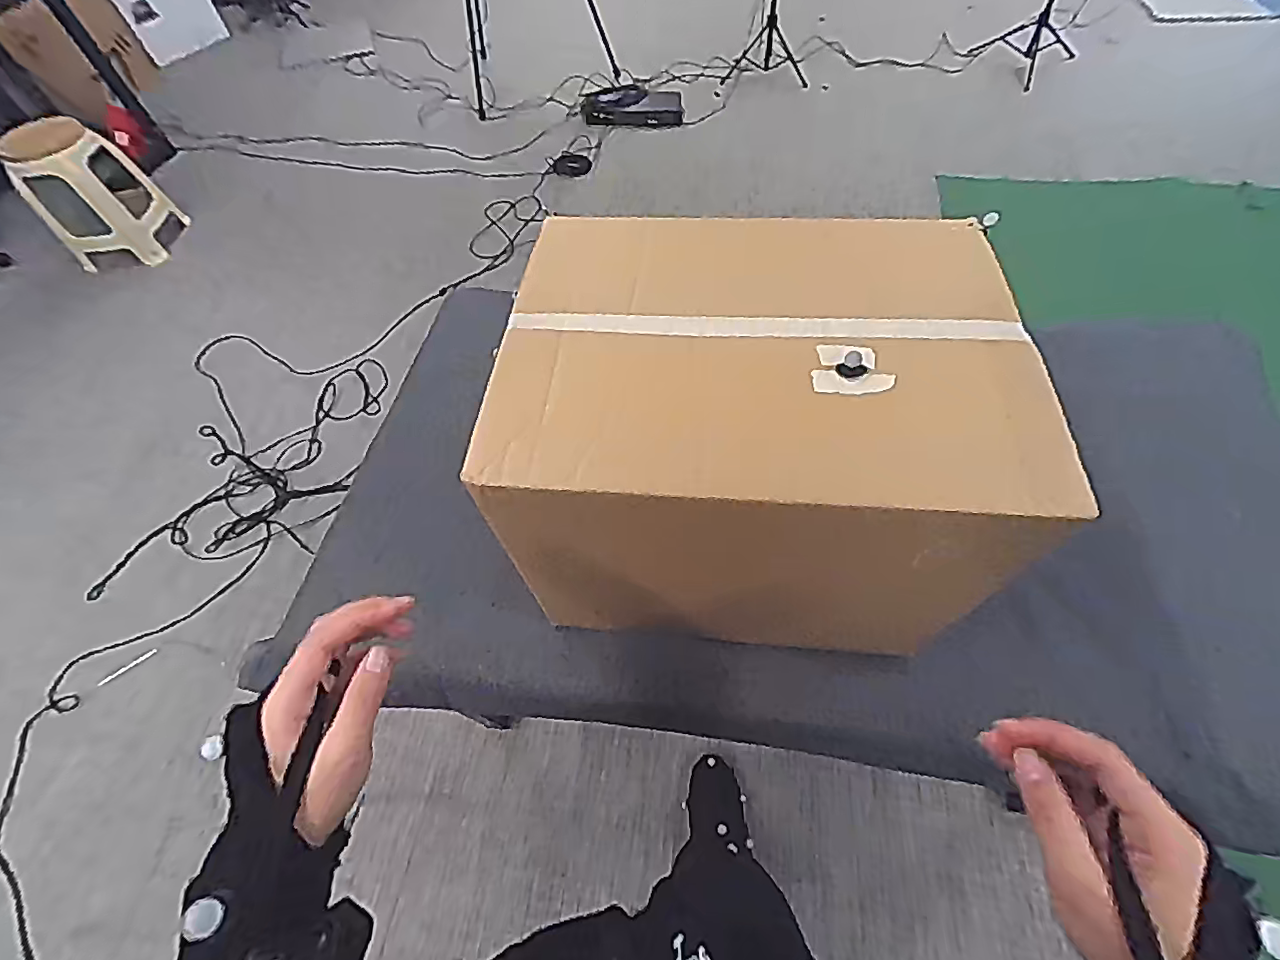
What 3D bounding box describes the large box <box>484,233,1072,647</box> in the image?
[{"bbox_3d":[0.101,-0.030,0.569,0.408,0.320,0.320,3,58,5],"label":"large box"}]
